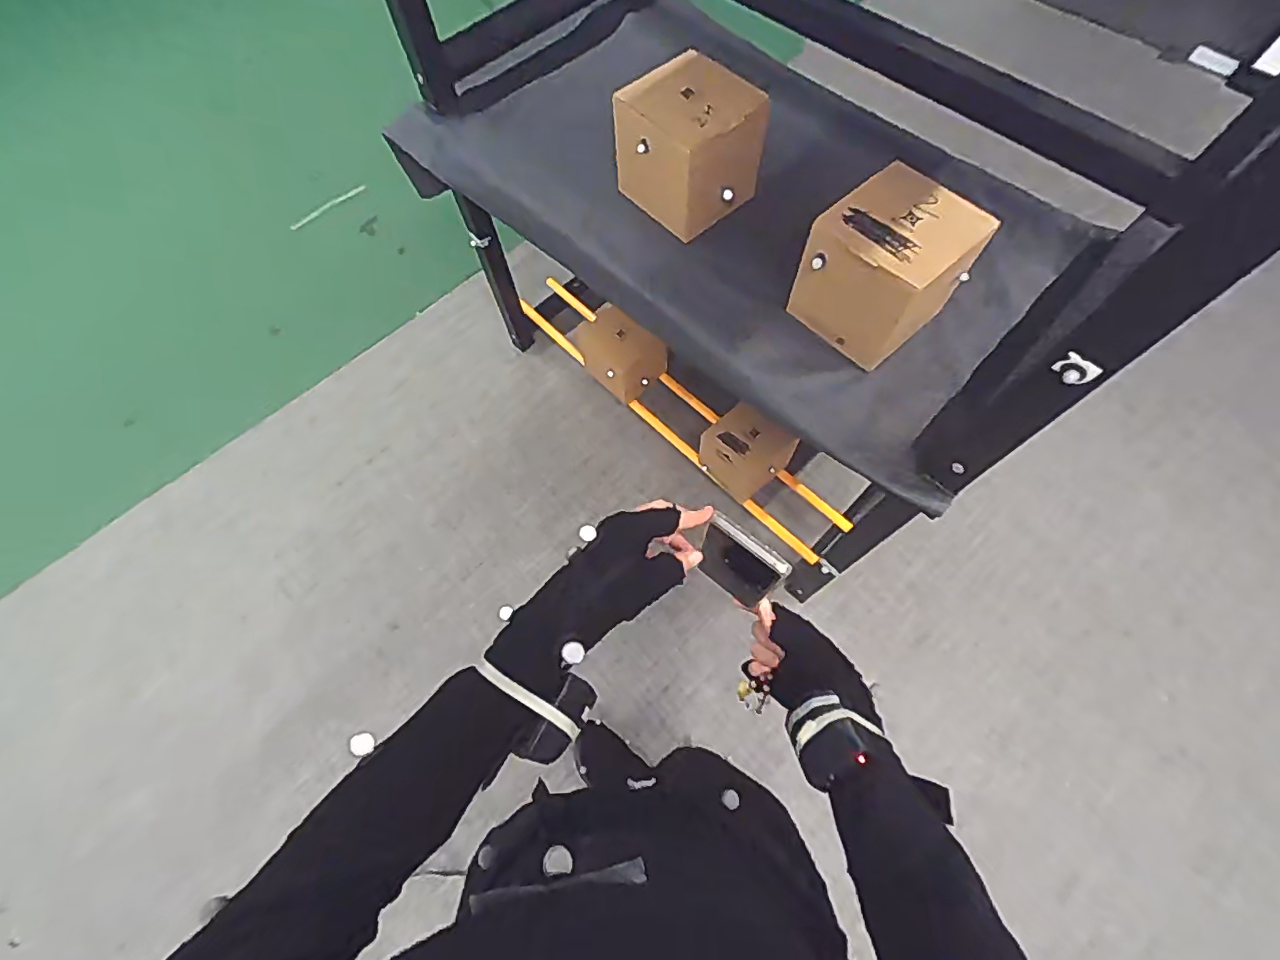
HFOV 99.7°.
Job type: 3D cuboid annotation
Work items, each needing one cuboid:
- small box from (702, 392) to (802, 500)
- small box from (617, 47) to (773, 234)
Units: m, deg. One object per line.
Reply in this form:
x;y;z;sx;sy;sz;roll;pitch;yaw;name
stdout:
0.271;-0.077;1.345;0.179;0.176;0.168;-39;71;-13;small box
0.082;-0.540;0.873;0.168;0.176;0.179;-40;71;-14;small box
